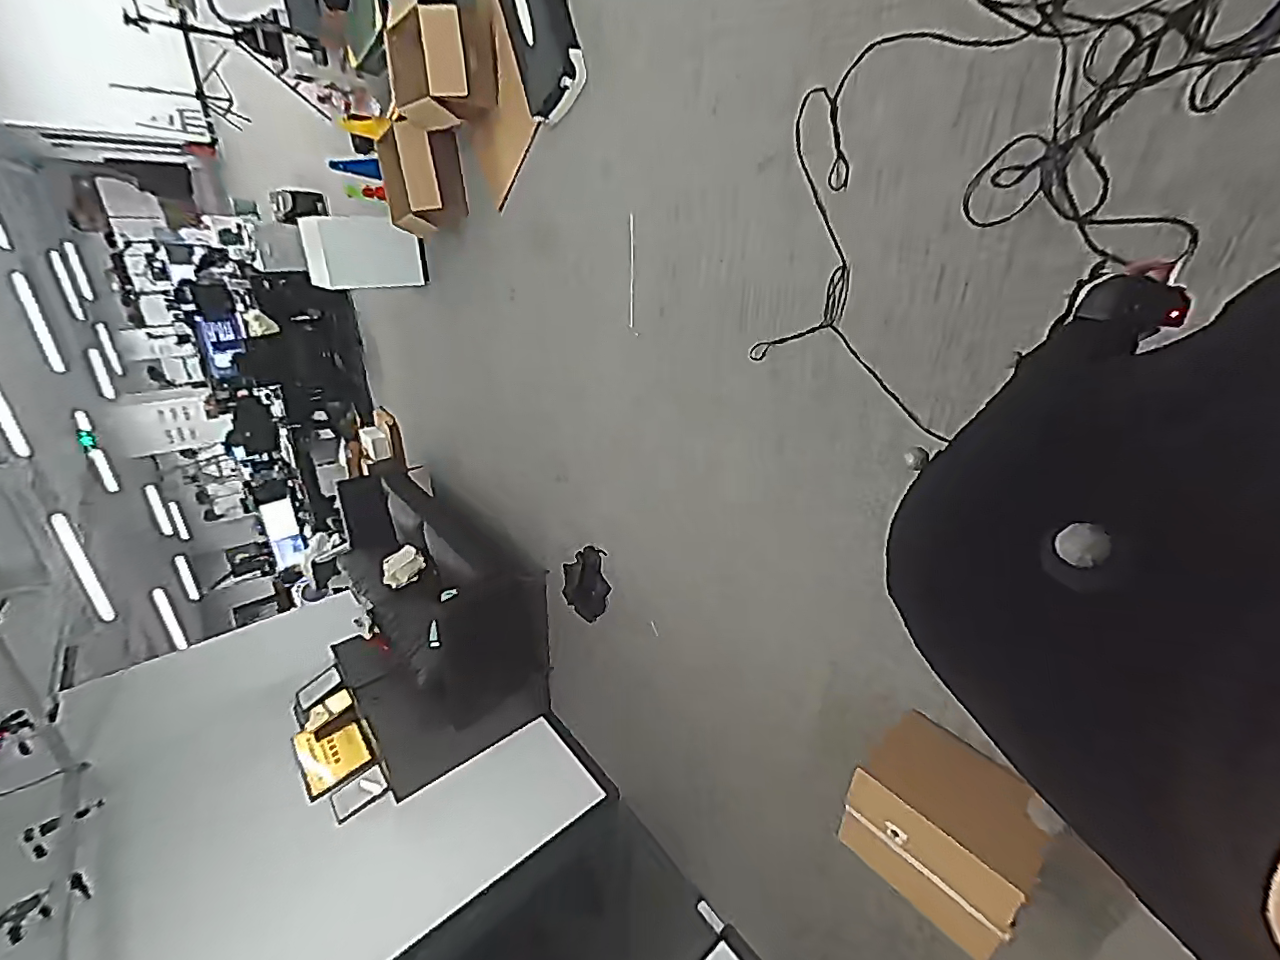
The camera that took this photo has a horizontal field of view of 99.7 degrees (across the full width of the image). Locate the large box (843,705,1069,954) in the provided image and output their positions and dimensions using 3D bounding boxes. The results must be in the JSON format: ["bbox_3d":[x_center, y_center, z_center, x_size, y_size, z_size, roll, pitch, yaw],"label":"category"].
[{"bbox_3d":[0.835,0.910,1.463,0.408,0.320,0.320,29,127,44],"label":"large box"}]
